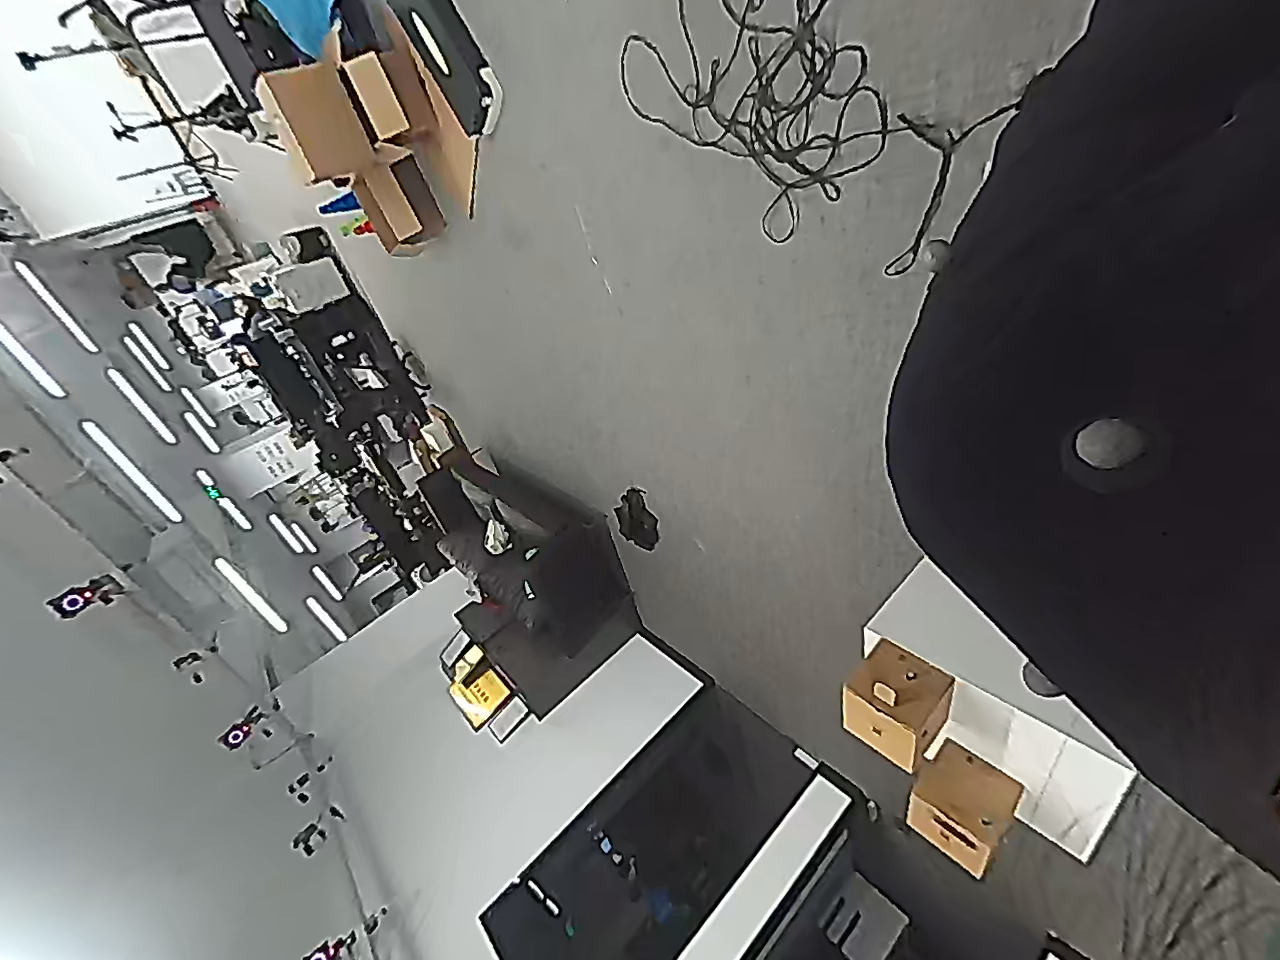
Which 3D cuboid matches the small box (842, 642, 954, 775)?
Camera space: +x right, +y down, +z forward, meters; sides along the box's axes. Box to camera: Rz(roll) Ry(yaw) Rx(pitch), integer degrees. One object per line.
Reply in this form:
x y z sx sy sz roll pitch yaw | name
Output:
0.574 0.503 1.207 0.168 0.176 0.179 27 143 44 | small box
